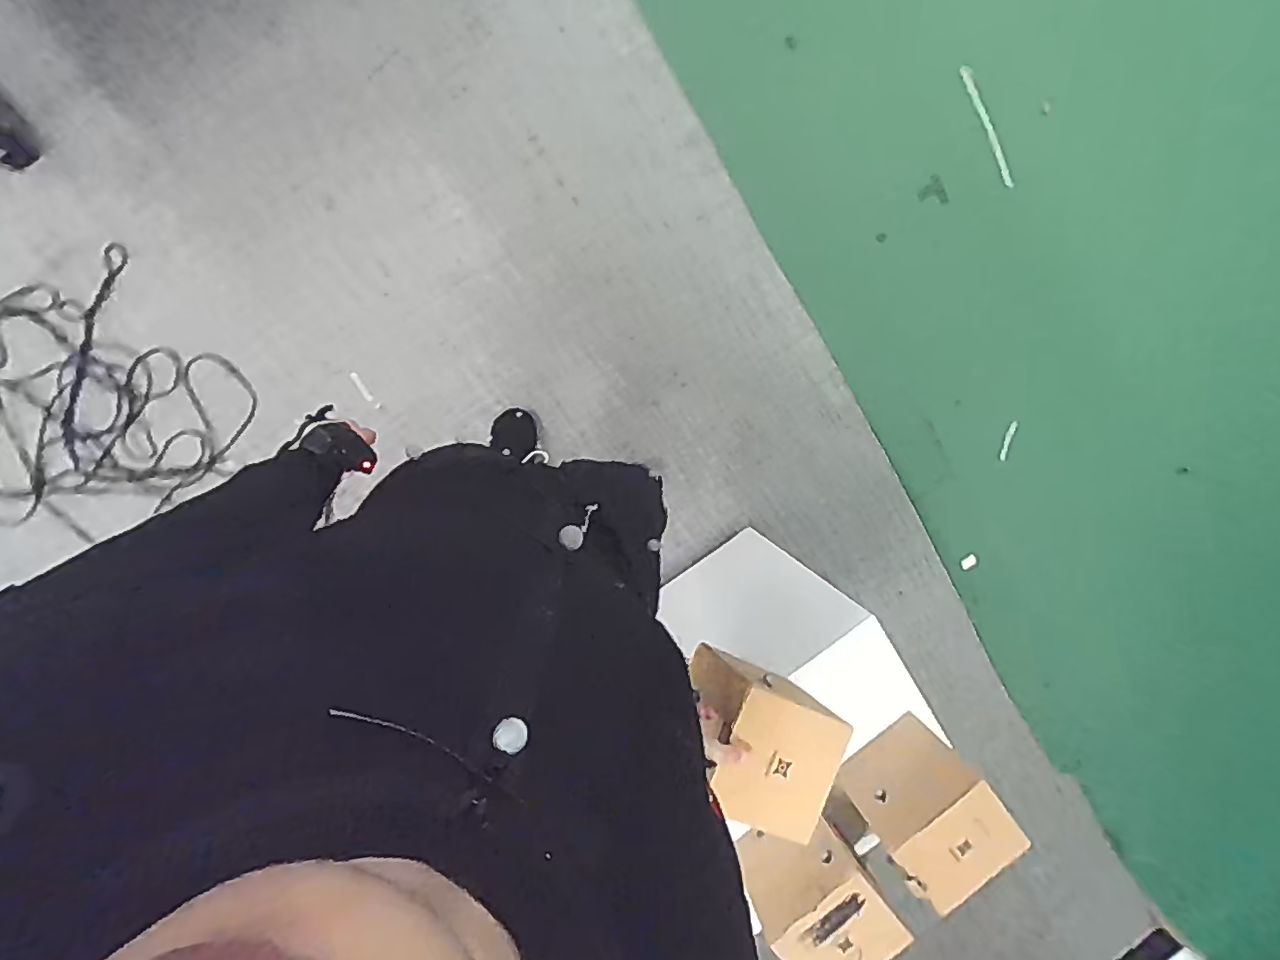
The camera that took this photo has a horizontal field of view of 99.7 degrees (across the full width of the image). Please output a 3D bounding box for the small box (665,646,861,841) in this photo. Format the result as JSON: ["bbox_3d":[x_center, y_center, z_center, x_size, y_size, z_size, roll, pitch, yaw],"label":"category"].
[{"bbox_3d":[0.162,0.355,0.758,0.179,0.176,0.168,26,85,-15],"label":"small box"}]

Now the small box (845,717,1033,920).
[{"bbox_3d":[0.458,0.526,0.861,0.179,0.176,0.168,-38,105,-2],"label":"small box"}]
